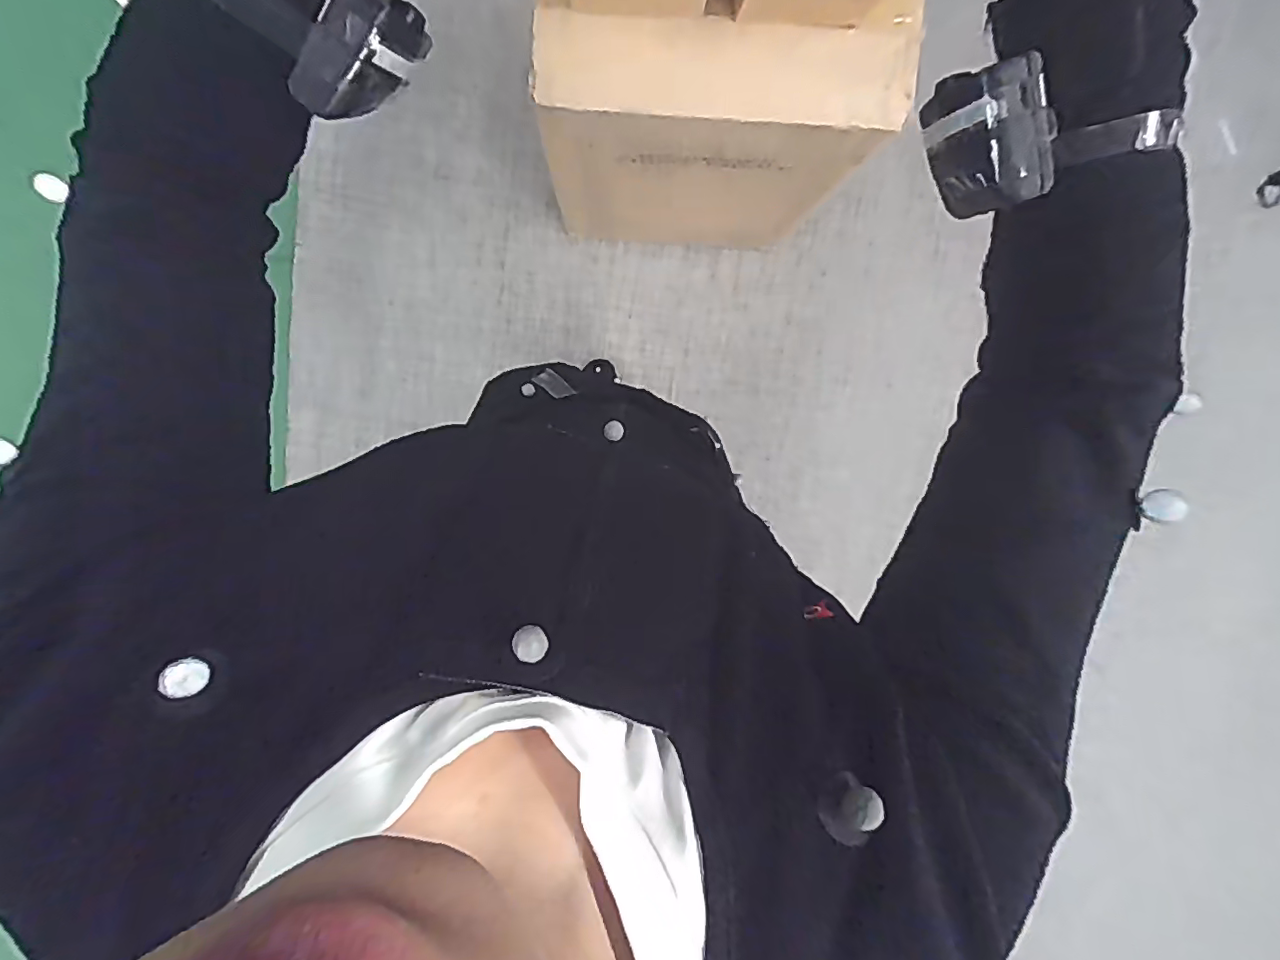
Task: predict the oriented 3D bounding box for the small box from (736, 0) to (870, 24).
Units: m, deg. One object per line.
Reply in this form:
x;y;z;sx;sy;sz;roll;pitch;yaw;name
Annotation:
0.217;-0.676;0.634;0.179;0.176;0.168;-1;106;-4;small box

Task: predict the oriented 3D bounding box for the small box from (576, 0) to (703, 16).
0.003;-0.678;0.621;0.179;0.176;0.168;0;104;-4;small box
